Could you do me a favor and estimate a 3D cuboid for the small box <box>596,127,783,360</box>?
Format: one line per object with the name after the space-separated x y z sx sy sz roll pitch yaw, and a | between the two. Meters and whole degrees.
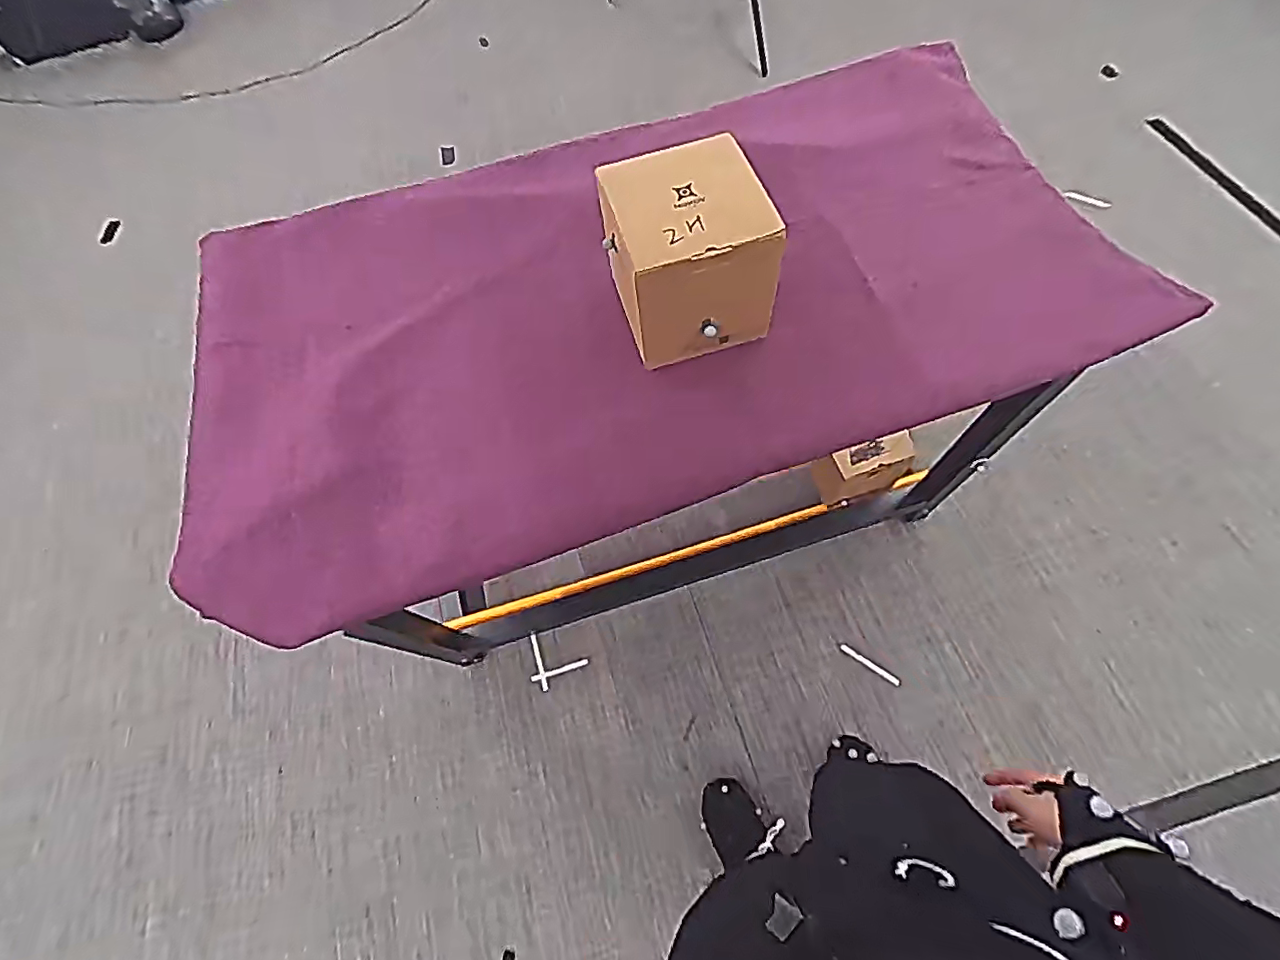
0.053 -0.278 0.655 0.168 0.176 0.179 -16 65 -2 | small box

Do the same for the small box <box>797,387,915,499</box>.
0.469 -0.071 1.201 0.168 0.176 0.179 -17 65 -2 | small box
